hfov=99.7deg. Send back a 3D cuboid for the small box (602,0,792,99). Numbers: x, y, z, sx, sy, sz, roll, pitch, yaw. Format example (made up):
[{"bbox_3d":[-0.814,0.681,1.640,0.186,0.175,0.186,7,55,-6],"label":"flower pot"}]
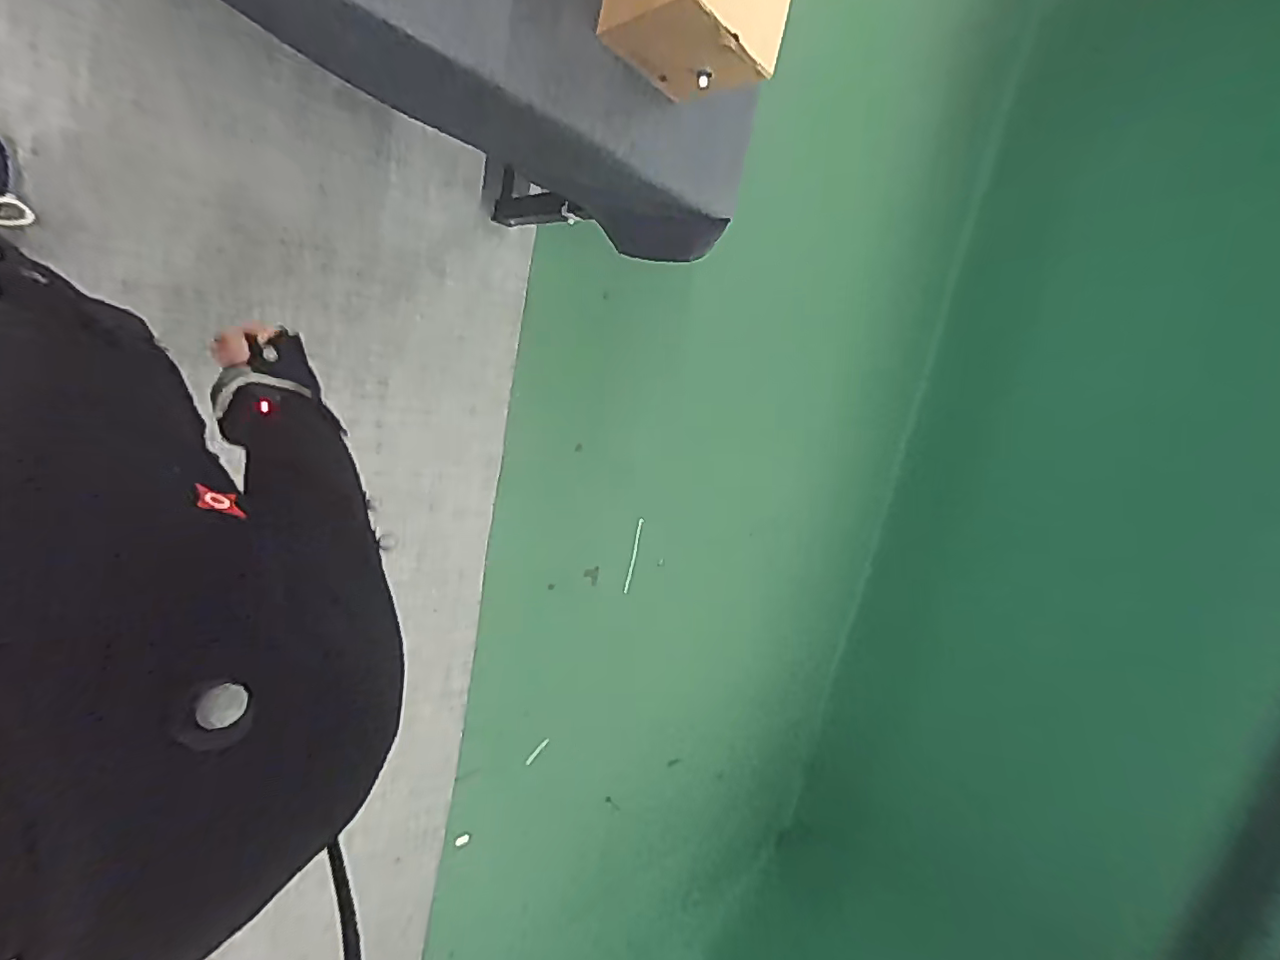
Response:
[{"bbox_3d":[0.074,-0.613,0.667,0.168,0.176,0.179,1,104,-48],"label":"small box"}]
